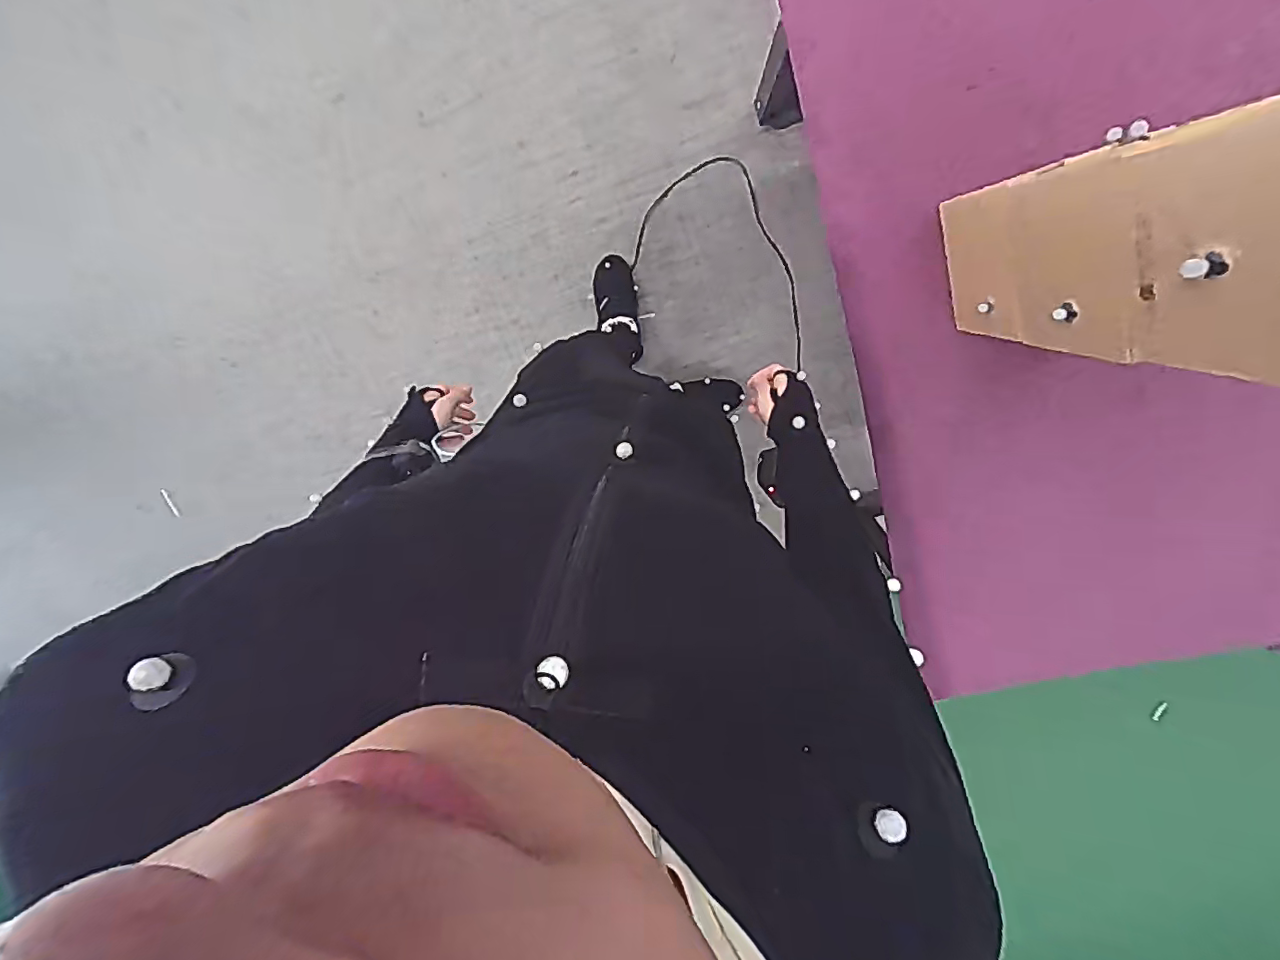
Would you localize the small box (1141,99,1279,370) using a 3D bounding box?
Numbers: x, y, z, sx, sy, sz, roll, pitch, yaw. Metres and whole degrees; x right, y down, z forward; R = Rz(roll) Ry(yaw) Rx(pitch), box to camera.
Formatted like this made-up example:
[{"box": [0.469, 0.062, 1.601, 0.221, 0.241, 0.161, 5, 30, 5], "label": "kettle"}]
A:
[{"box": [0.477, -0.175, 0.352, 0.179, 0.176, 0.168, -17, 108, 12], "label": "small box"}]

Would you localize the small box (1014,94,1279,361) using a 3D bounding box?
[{"box": [0.486, -0.229, 0.505, 0.168, 0.176, 0.179, -16, 108, 11], "label": "small box"}]
